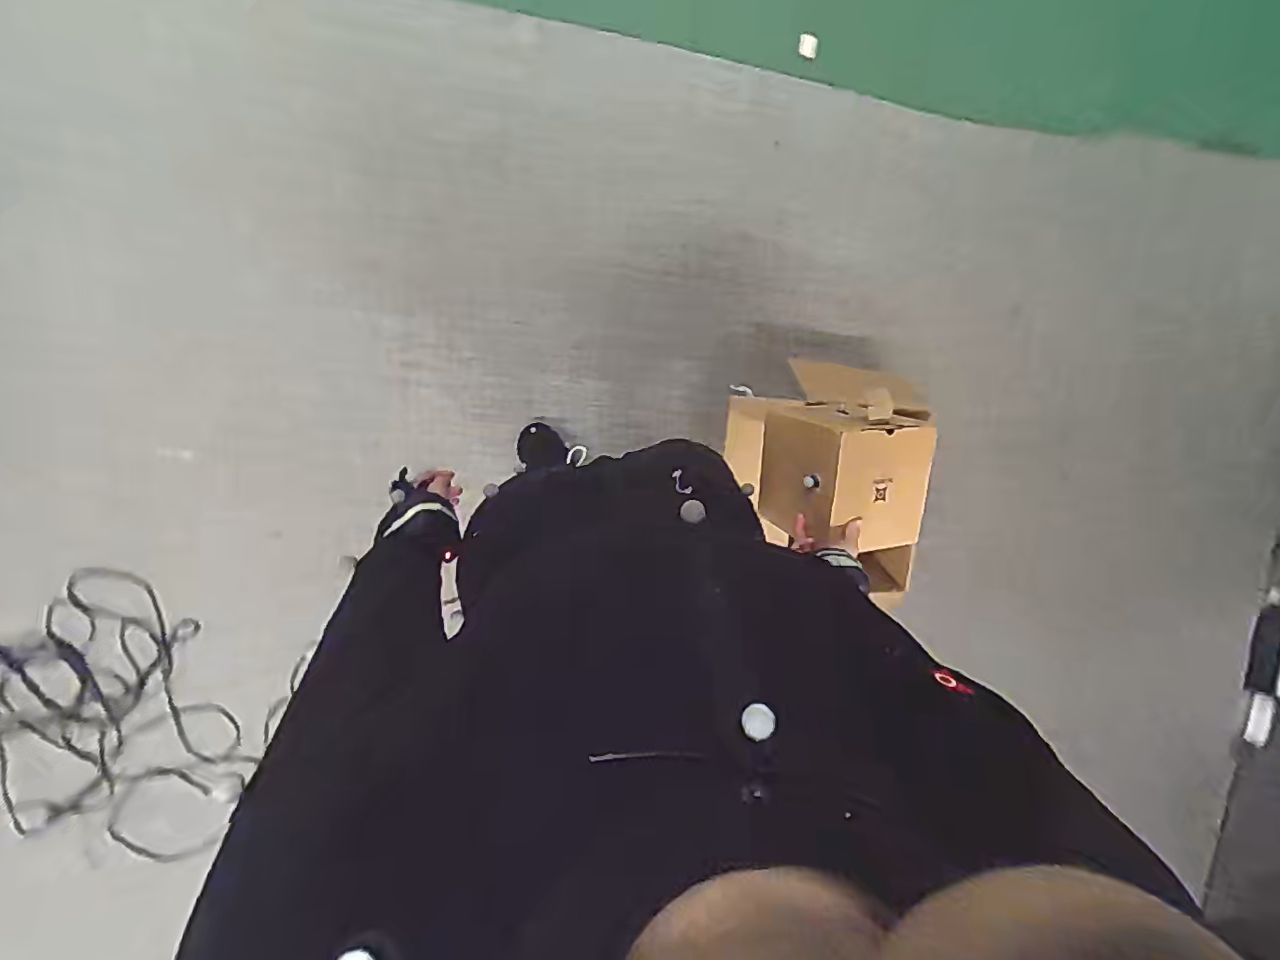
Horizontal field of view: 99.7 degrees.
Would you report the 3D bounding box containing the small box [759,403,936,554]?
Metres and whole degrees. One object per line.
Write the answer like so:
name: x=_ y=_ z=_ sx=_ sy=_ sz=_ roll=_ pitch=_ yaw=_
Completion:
small box: x=0.289 y=-0.012 z=0.789 sx=0.168 sy=0.176 sz=0.179 roll=-6 pitch=107 yaw=-21
